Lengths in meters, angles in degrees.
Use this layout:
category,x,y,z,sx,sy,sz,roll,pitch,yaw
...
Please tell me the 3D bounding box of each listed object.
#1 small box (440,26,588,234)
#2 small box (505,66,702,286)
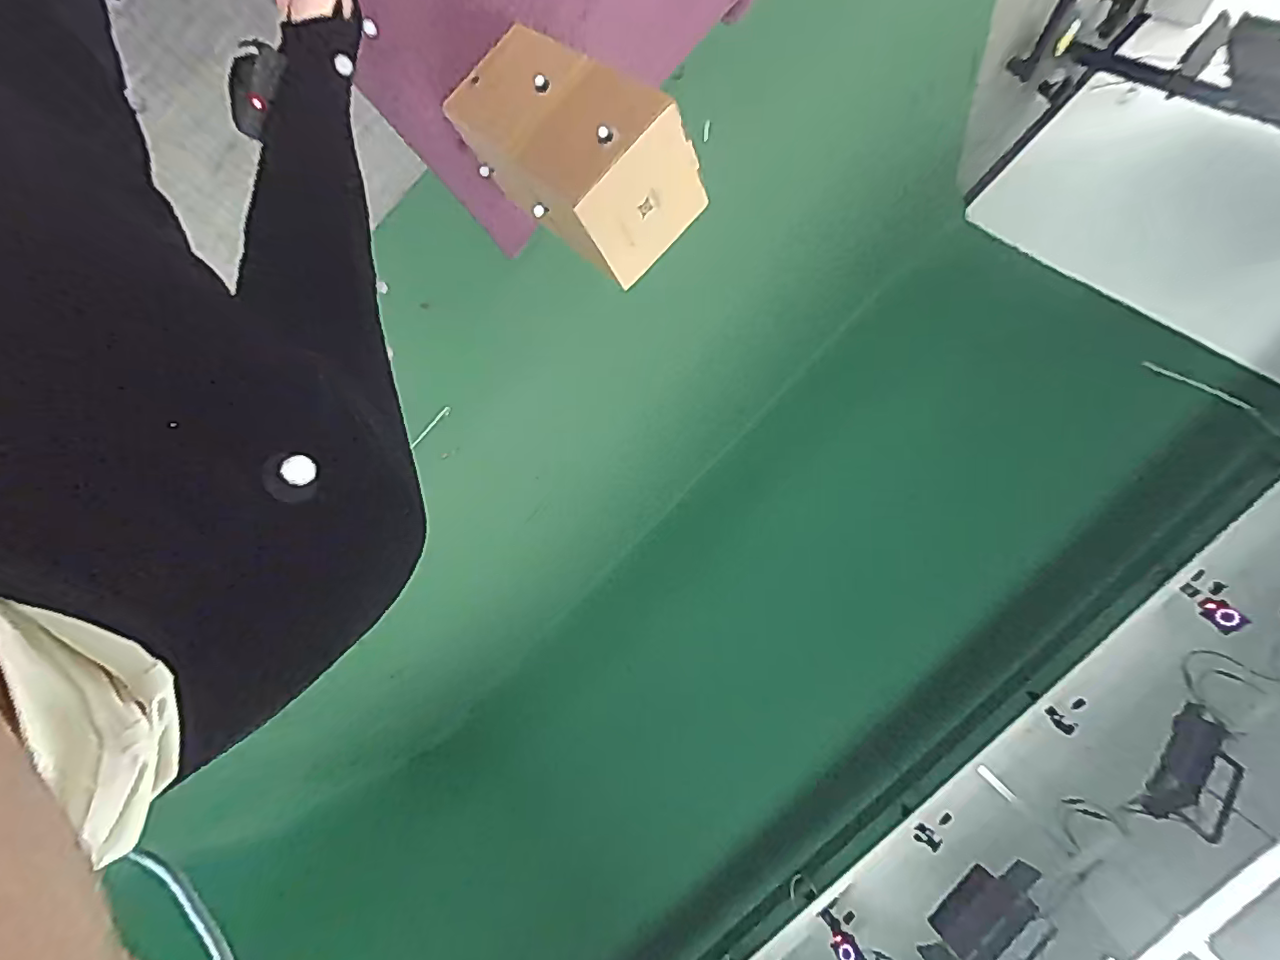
category,x,y,z,sx,sy,sz,roll,pitch,yaw
small box,-0.155,-0.518,0.808,0.168,0.176,0.179,-46,155,2
small box,-0.048,-0.414,0.741,0.179,0.176,0.168,-46,153,2
